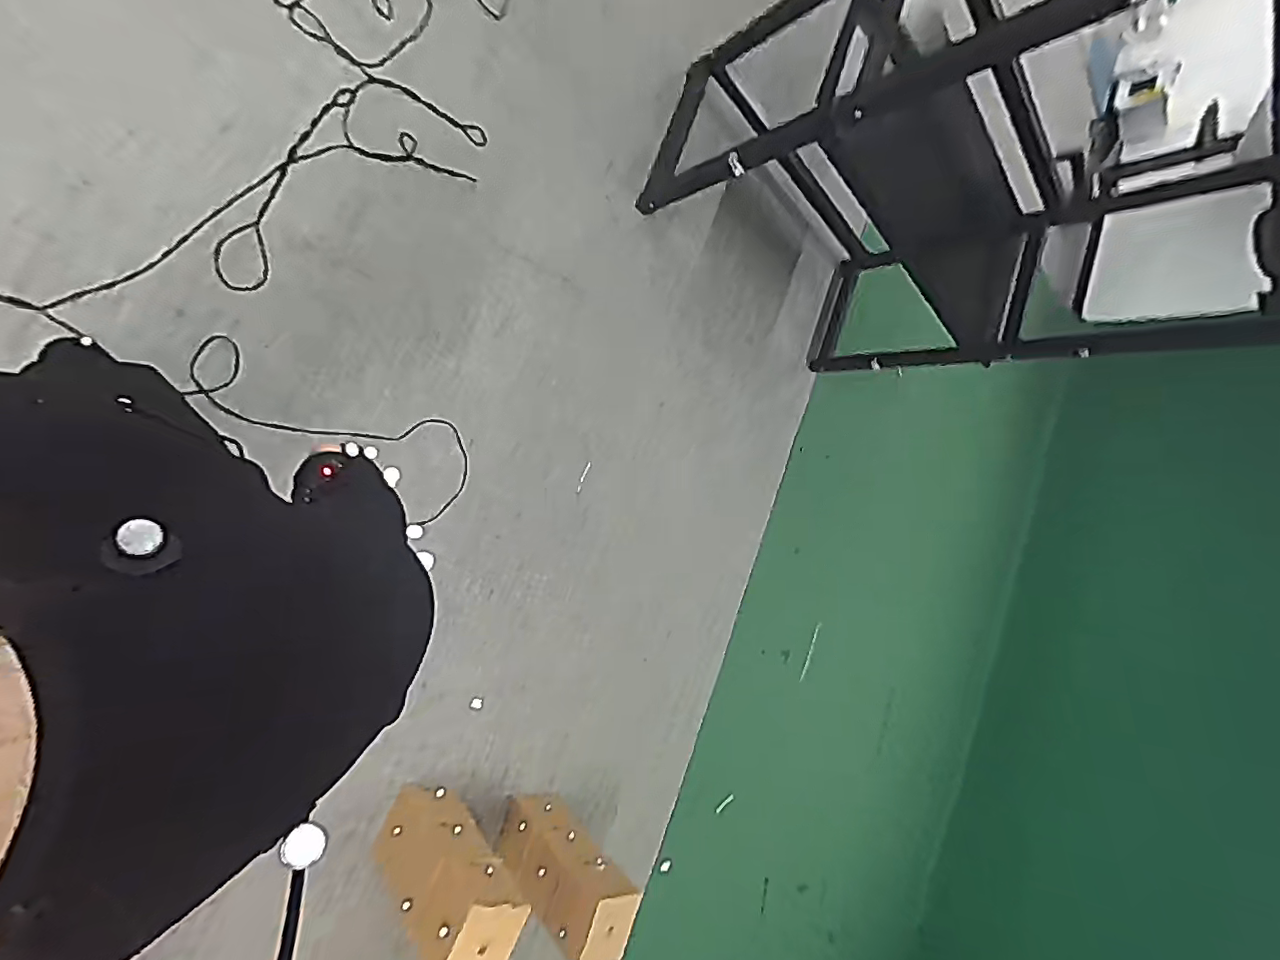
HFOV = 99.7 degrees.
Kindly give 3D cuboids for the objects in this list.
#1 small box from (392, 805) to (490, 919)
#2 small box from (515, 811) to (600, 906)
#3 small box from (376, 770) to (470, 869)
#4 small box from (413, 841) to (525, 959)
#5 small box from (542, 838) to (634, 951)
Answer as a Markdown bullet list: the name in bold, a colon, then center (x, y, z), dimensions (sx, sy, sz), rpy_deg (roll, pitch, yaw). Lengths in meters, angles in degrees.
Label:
- **small box**: center (-0.515, 0.978, 1.393), dimensions (0.168, 0.176, 0.179), rpy_deg (33, 76, -38)
- **small box**: center (-0.253, 1.129, 1.633), dimensions (0.168, 0.176, 0.179), rpy_deg (24, 81, -39)
- **small box**: center (-0.616, 0.956, 1.522), dimensions (0.168, 0.176, 0.179), rpy_deg (35, 74, -37)
- **small box**: center (-0.409, 0.994, 1.272), dimensions (0.168, 0.176, 0.179), rpy_deg (35, 74, -37)
- **small box**: center (-0.150, 1.144, 1.507), dimensions (0.168, 0.176, 0.179), rpy_deg (25, 81, -41)
